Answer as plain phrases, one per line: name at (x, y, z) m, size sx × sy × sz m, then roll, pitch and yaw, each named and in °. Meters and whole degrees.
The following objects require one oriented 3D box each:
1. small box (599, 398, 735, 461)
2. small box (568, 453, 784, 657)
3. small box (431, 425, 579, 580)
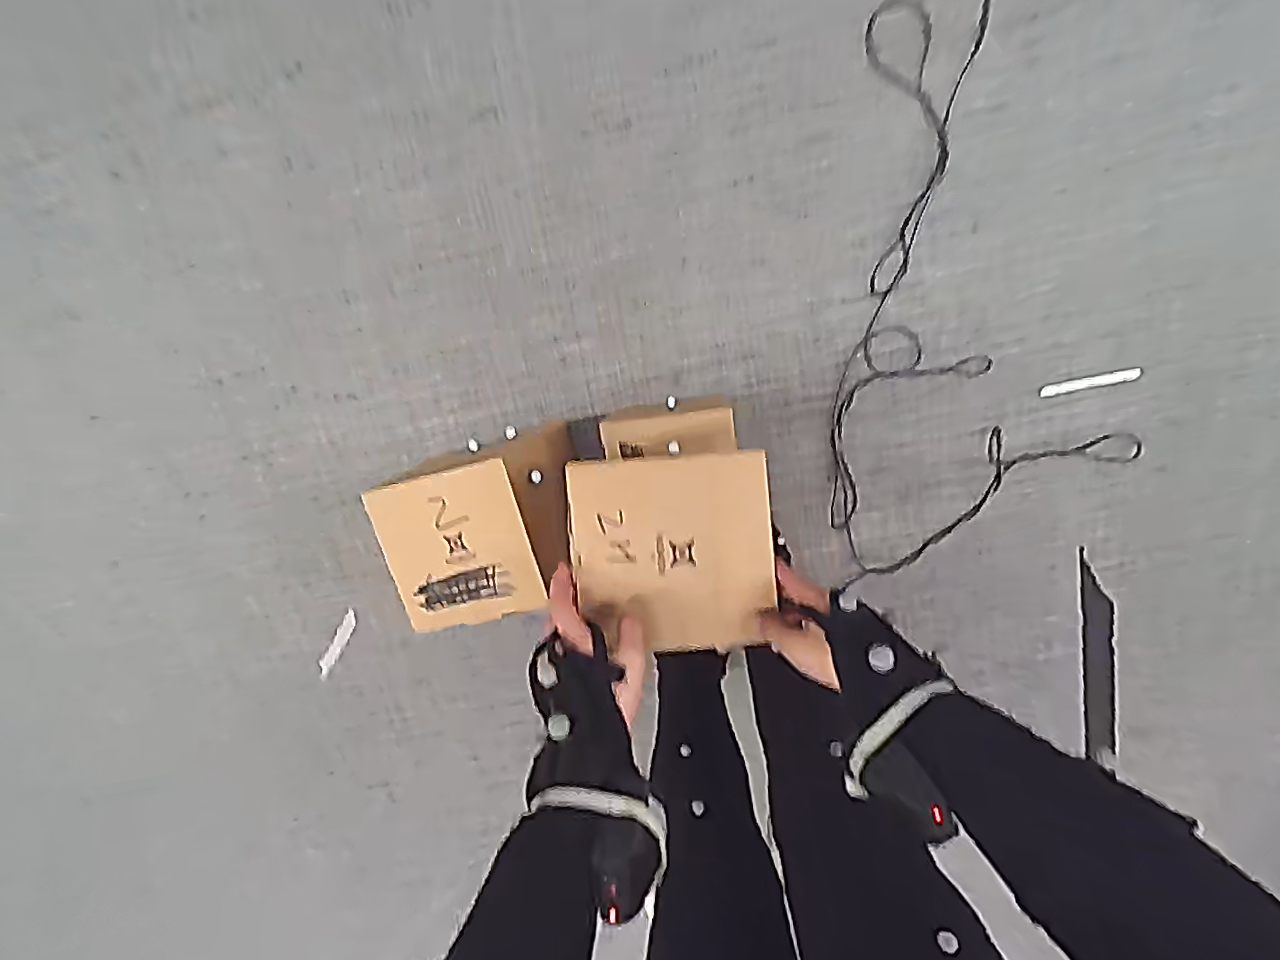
small box at (0.047, -0.024, 0.794) m, size 0.179 × 0.176 × 0.168 m, roll -6°, pitch 103°, yaw 5°
small box at (0.029, 0.064, 0.534) m, size 0.179 × 0.176 × 0.168 m, roll -4°, pitch 87°, yaw 0°
small box at (-0.180, 0.022, 0.824) m, size 0.168 × 0.176 × 0.179 m, roll -18°, pitch 102°, yaw 8°
